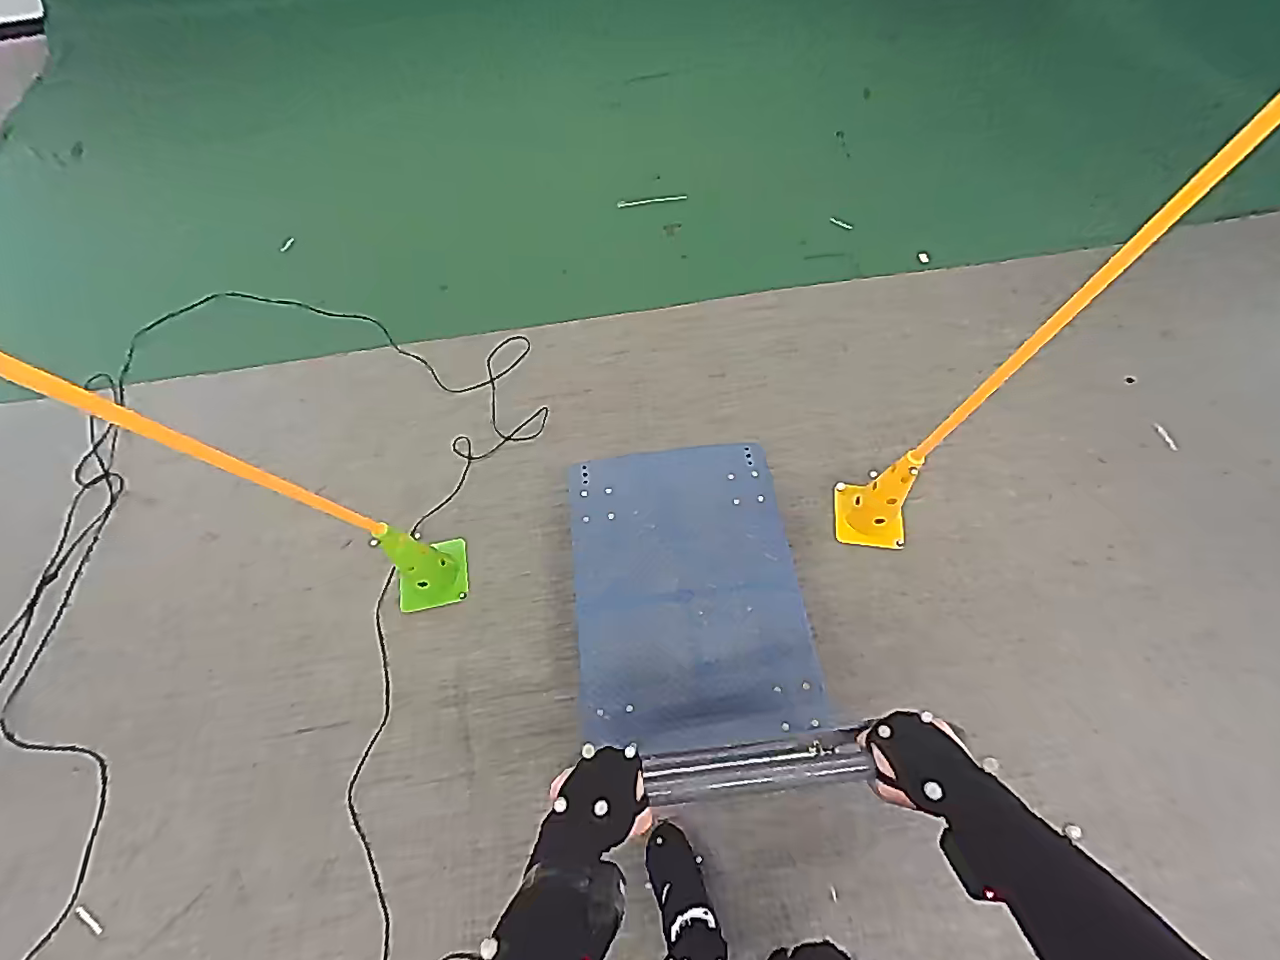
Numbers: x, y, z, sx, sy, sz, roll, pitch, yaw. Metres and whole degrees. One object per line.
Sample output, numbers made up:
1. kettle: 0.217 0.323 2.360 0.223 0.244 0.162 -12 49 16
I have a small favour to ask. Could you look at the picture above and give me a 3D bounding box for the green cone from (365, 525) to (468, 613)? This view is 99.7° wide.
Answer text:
1. green cone: -0.632 0.205 1.469 0.202 0.368 0.200 -13 62 -2
